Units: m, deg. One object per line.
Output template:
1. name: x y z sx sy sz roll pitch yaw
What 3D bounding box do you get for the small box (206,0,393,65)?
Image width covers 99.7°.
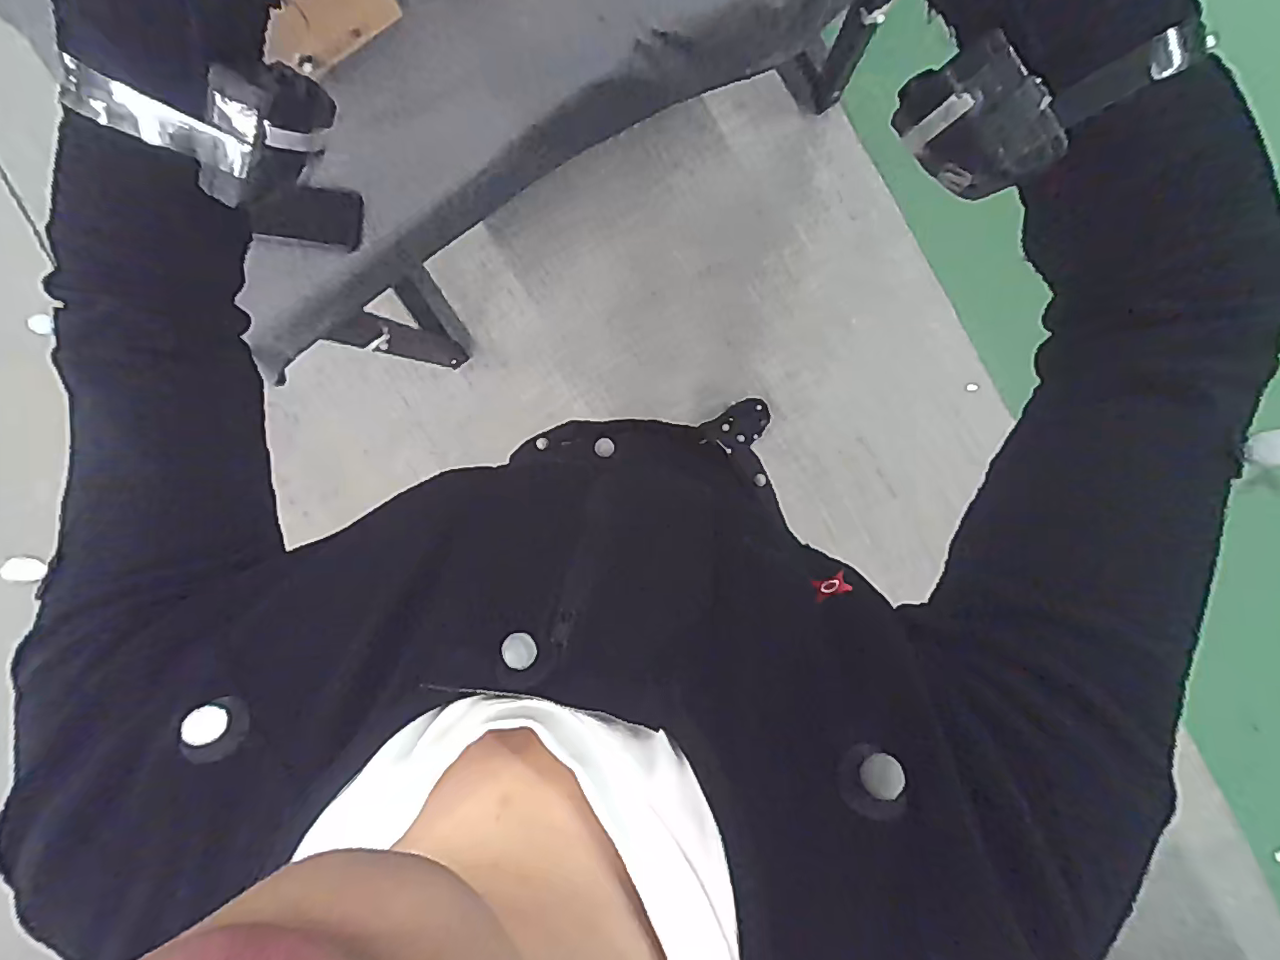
1. small box: -0.412 -0.608 0.591 0.168 0.176 0.179 -30 93 5
